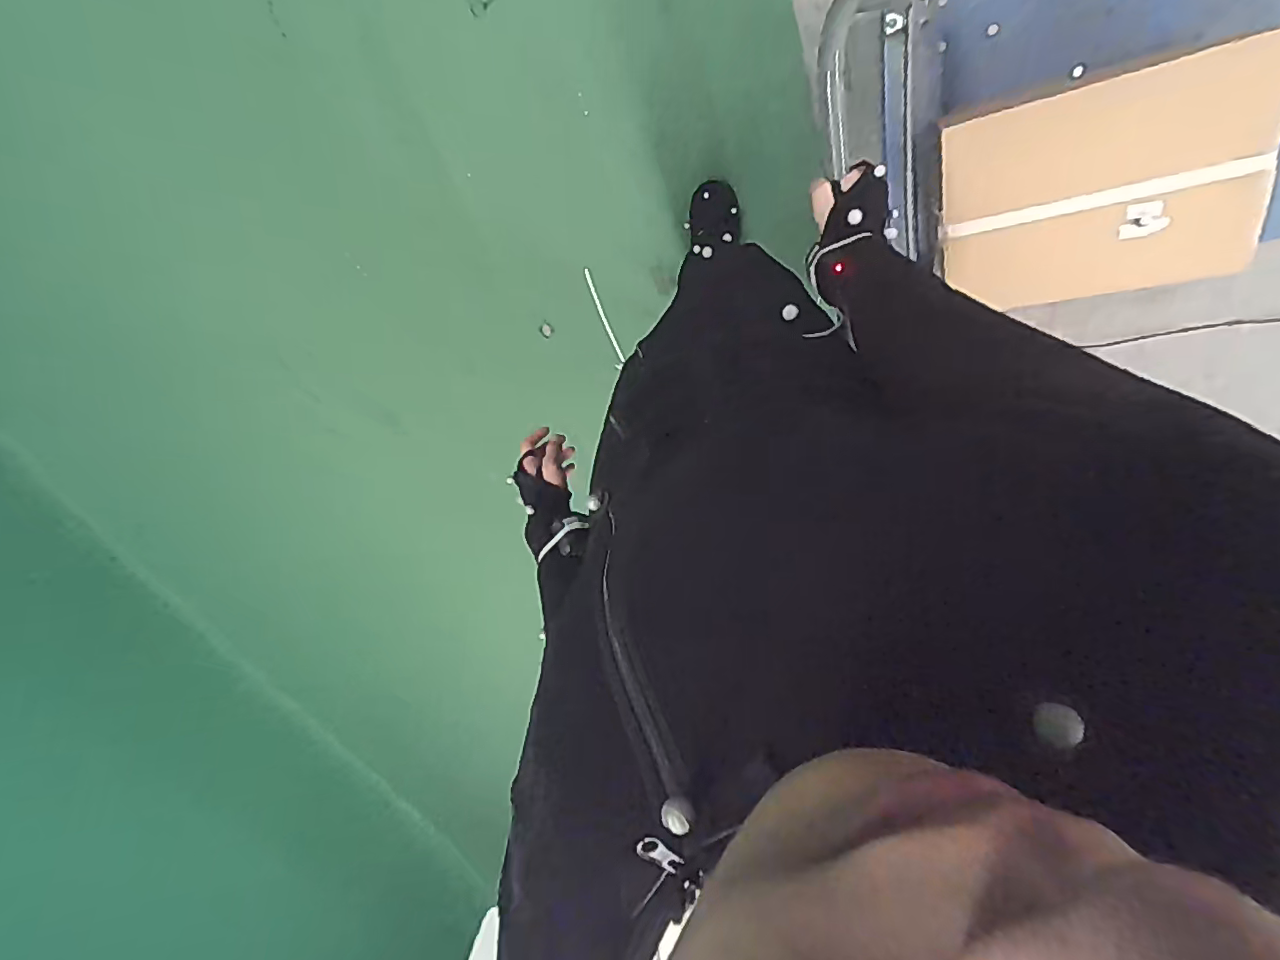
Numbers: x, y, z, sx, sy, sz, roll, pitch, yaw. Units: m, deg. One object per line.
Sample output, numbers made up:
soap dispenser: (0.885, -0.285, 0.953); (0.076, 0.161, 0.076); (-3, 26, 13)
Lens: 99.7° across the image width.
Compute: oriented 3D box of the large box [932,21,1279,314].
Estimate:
large box: (0.751, -0.523, 0.951); (0.408, 0.320, 0.320); (-2, 123, 28)
